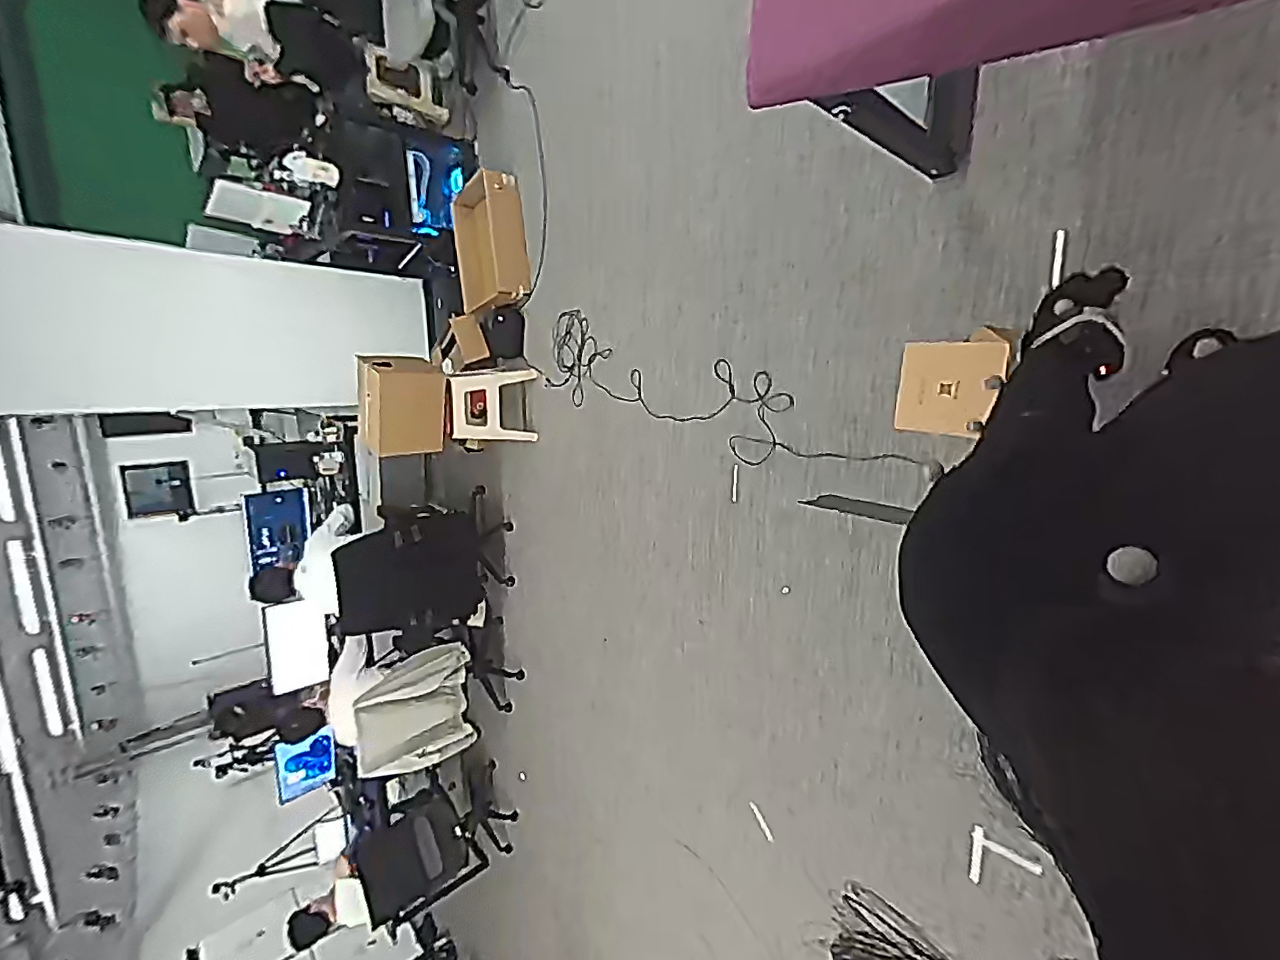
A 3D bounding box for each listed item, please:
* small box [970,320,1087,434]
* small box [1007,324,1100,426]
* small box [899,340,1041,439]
[{"bbox_3d":[0.748,-0.202,1.095,0.179,0.176,0.168,50,131,31],"label":"small box"},{"bbox_3d":[0.867,-0.228,1.204,0.179,0.176,0.168,47,129,31],"label":"small box"},{"bbox_3d":[0.614,-0.173,1.004,0.179,0.176,0.168,15,108,47],"label":"small box"}]
